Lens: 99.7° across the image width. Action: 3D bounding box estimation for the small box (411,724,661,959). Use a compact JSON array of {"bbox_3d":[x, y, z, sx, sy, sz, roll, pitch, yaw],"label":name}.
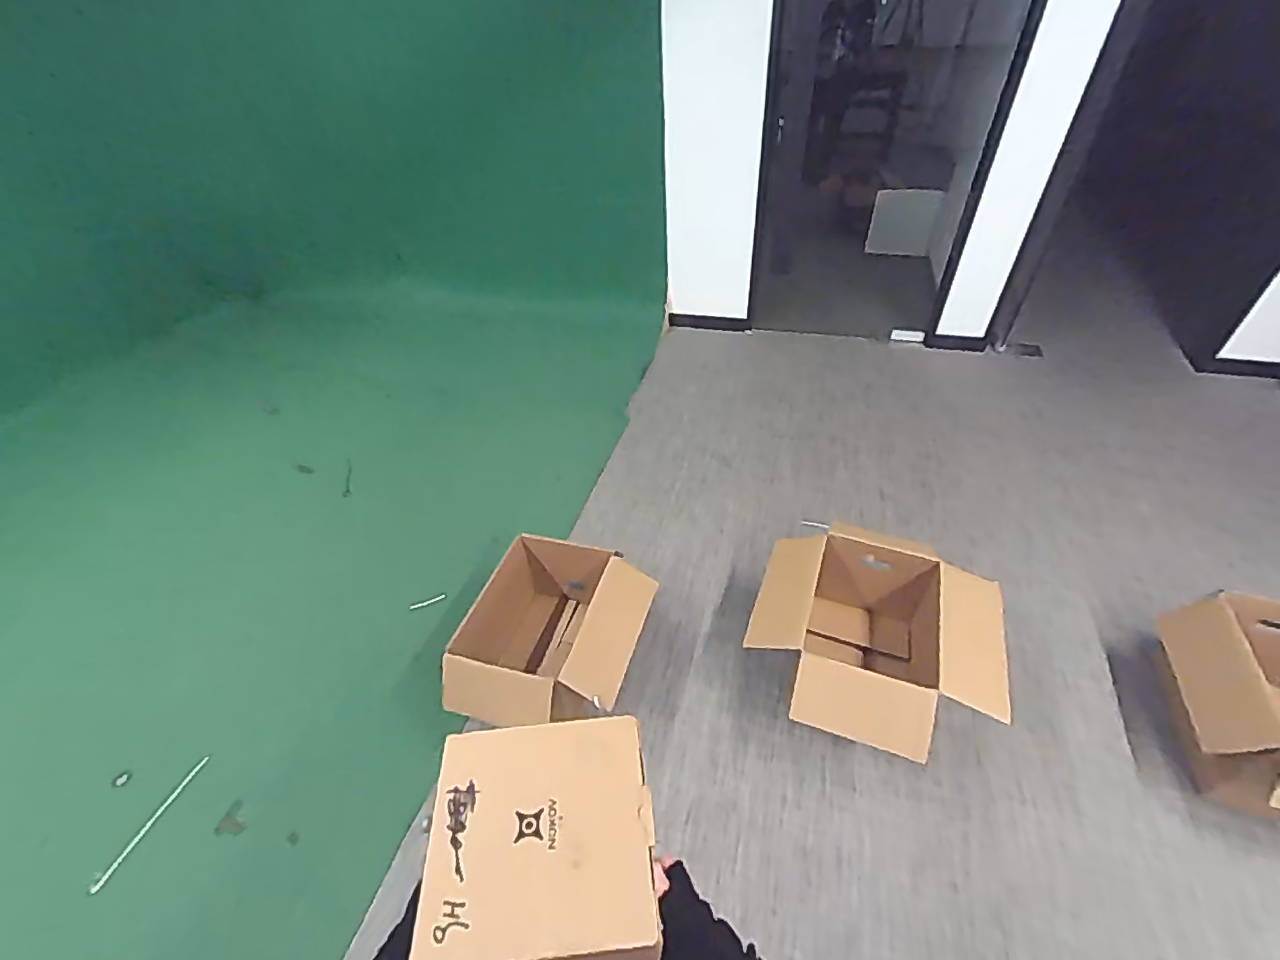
[{"bbox_3d":[-0.080,0.343,0.486,0.179,0.176,0.168,-2,39,-5],"label":"small box"}]
